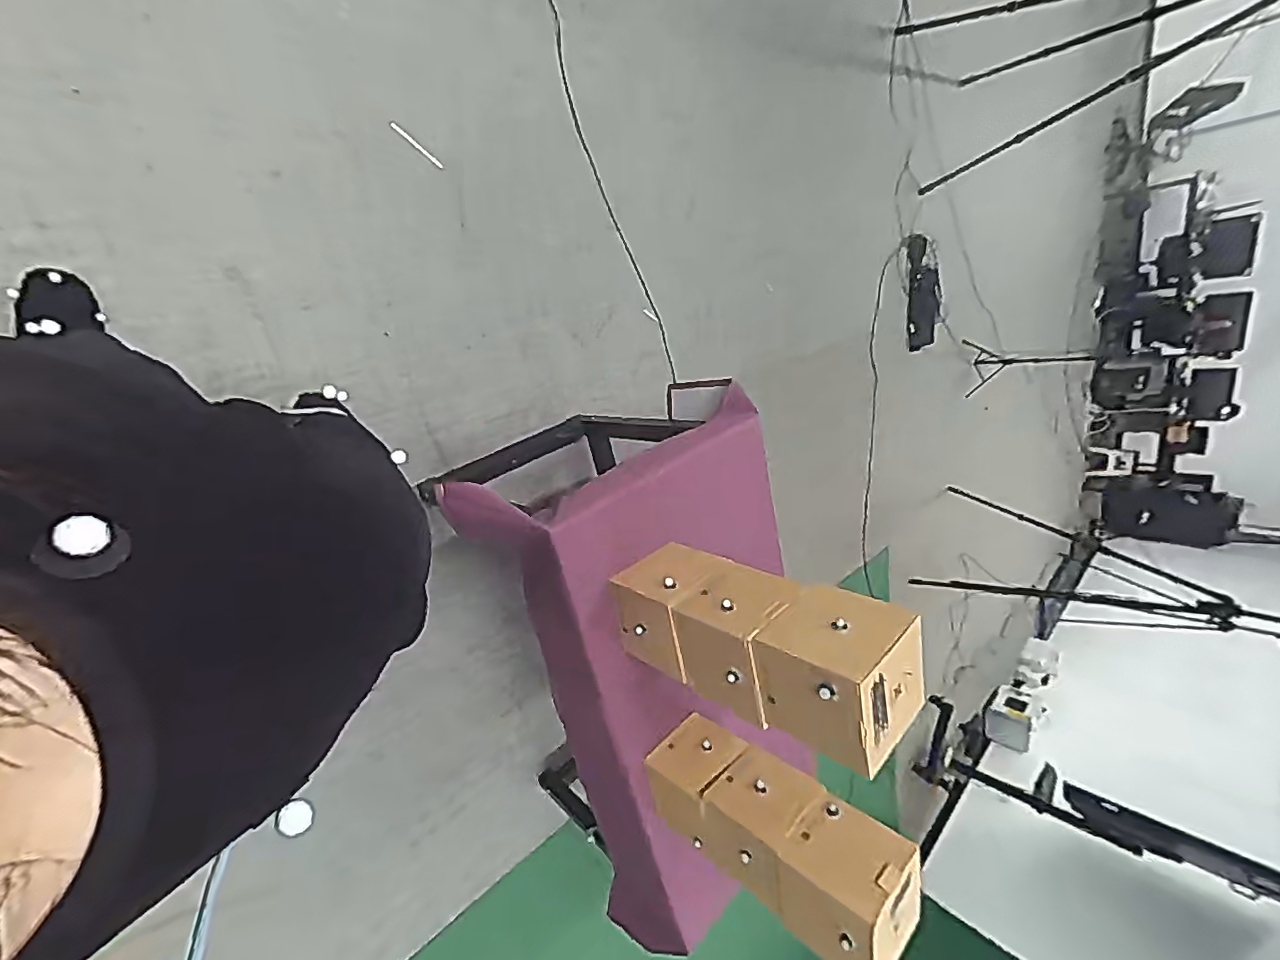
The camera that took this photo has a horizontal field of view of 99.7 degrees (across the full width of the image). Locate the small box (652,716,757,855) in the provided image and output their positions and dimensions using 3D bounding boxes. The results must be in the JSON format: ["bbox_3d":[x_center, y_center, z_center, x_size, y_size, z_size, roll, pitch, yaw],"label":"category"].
[{"bbox_3d":[0.145,0.642,1.169,0.168,0.176,0.179,-28,115,-35],"label":"small box"}]

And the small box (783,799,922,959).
[{"bbox_3d":[0.359,0.688,0.922,0.168,0.176,0.179,-23,114,-36],"label":"small box"}]

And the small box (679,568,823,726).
[{"bbox_3d":[0.186,0.266,0.918,0.168,0.176,0.179,-27,115,-34],"label":"small box"}]

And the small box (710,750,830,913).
[{"bbox_3d":[0.251,0.657,1.043,0.168,0.176,0.179,-23,112,-36],"label":"small box"}]

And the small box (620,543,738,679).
[{"bbox_3d":[0.078,0.240,1.038,0.179,0.176,0.168,-26,114,-35],"label":"small box"}]
